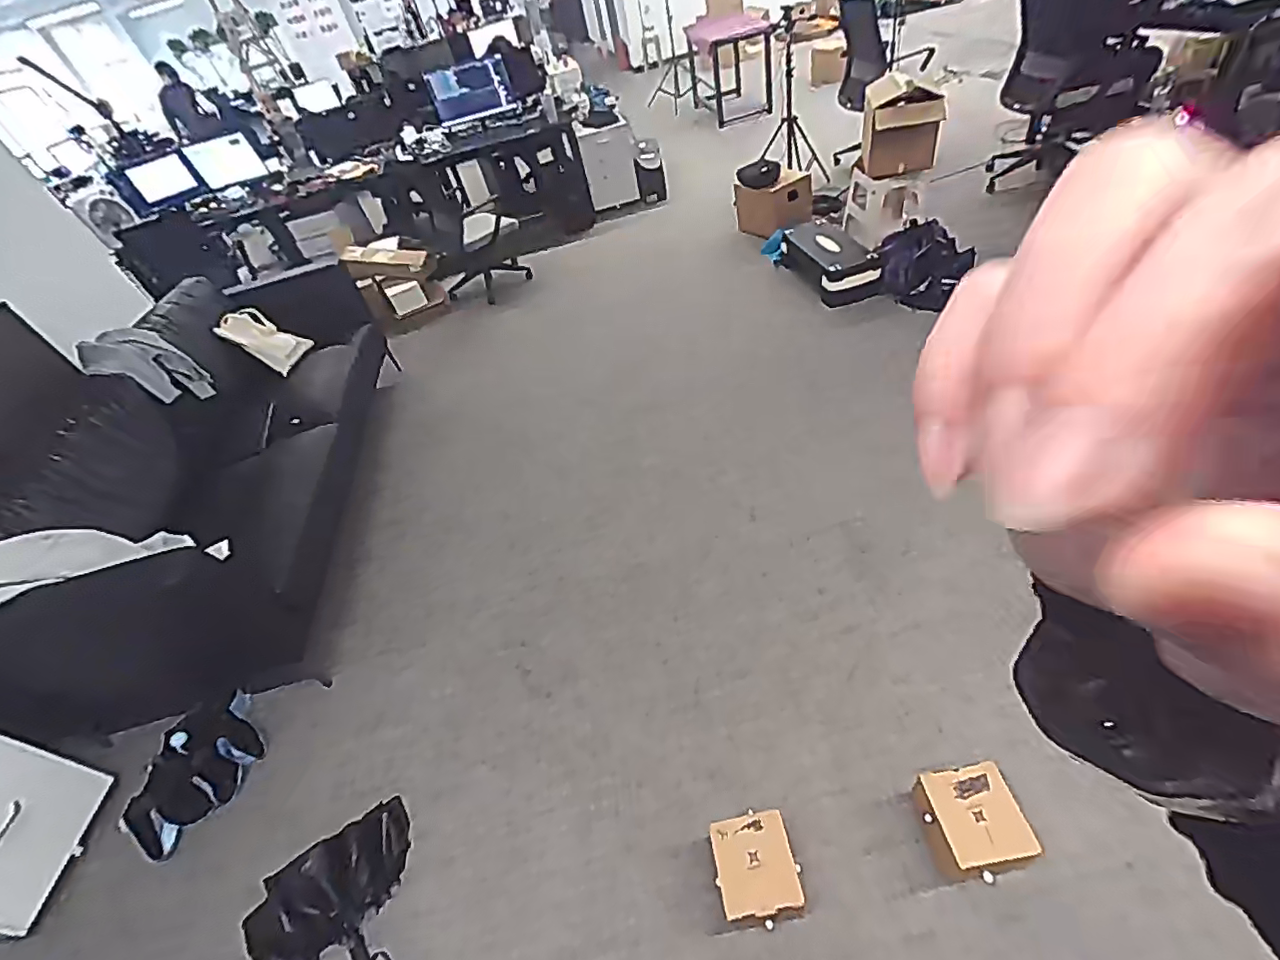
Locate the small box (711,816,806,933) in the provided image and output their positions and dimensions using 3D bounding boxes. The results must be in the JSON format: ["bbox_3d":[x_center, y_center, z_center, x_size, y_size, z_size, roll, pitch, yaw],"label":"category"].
[{"bbox_3d":[0.265,0.881,1.201,0.168,0.176,0.179,-14,43,3],"label":"small box"}]

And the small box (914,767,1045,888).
[{"bbox_3d":[0.726,0.760,1.181,0.168,0.176,0.179,-14,44,4],"label":"small box"}]
